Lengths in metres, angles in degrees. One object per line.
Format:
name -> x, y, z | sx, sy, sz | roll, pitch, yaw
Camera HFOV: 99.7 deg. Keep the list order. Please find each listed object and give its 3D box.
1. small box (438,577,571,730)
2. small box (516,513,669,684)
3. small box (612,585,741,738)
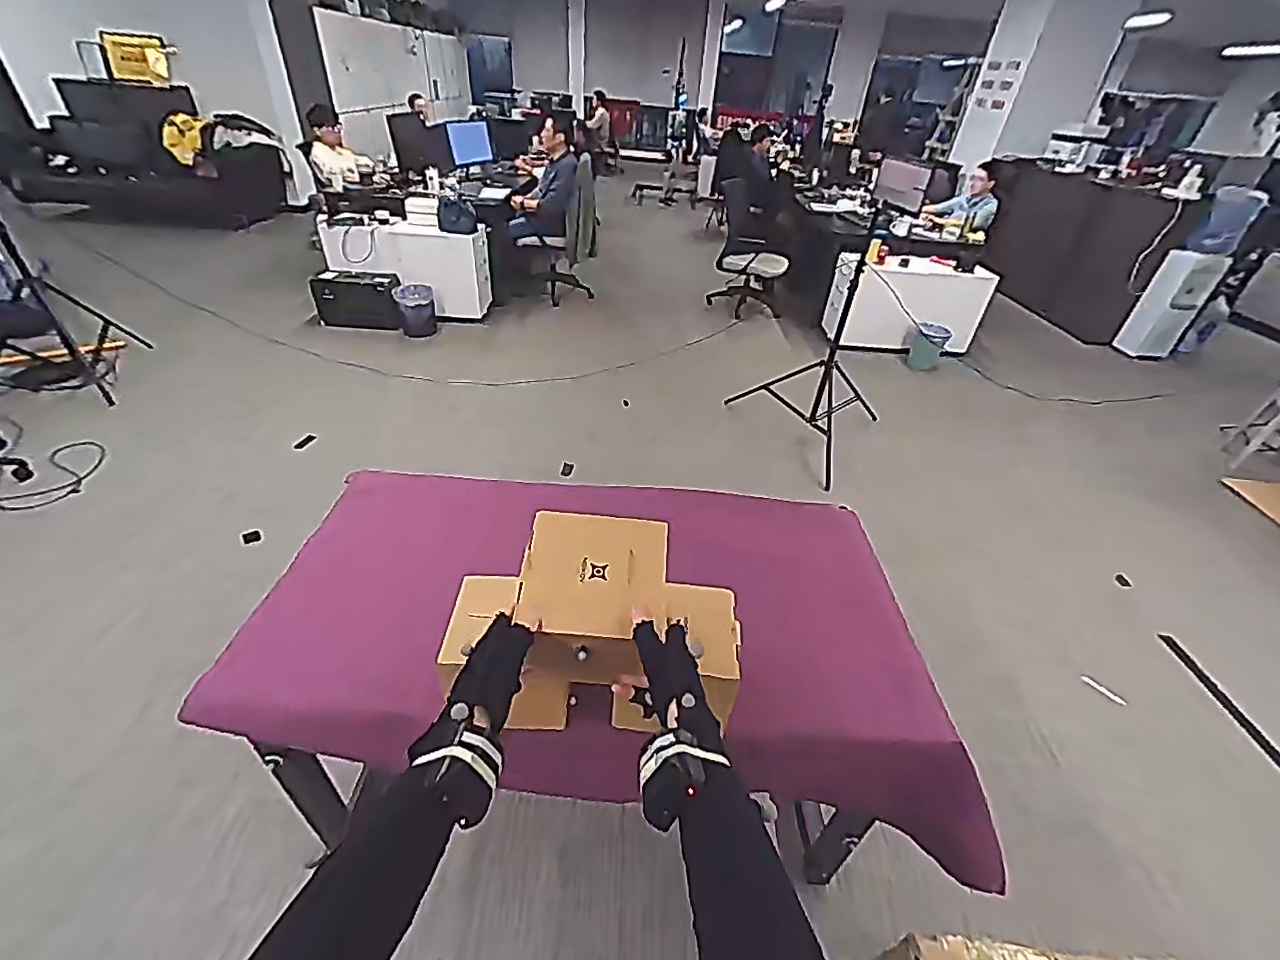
small box -> -0.195, 0.274, 0.853 | 0.179, 0.176, 0.168 | 2, 35, -2
small box -> -0.058, 0.163, 0.727 | 0.179, 0.176, 0.168 | 5, 52, -3
small box -> 0.055, 0.288, 0.865 | 0.179, 0.176, 0.168 | 7, 36, 1
